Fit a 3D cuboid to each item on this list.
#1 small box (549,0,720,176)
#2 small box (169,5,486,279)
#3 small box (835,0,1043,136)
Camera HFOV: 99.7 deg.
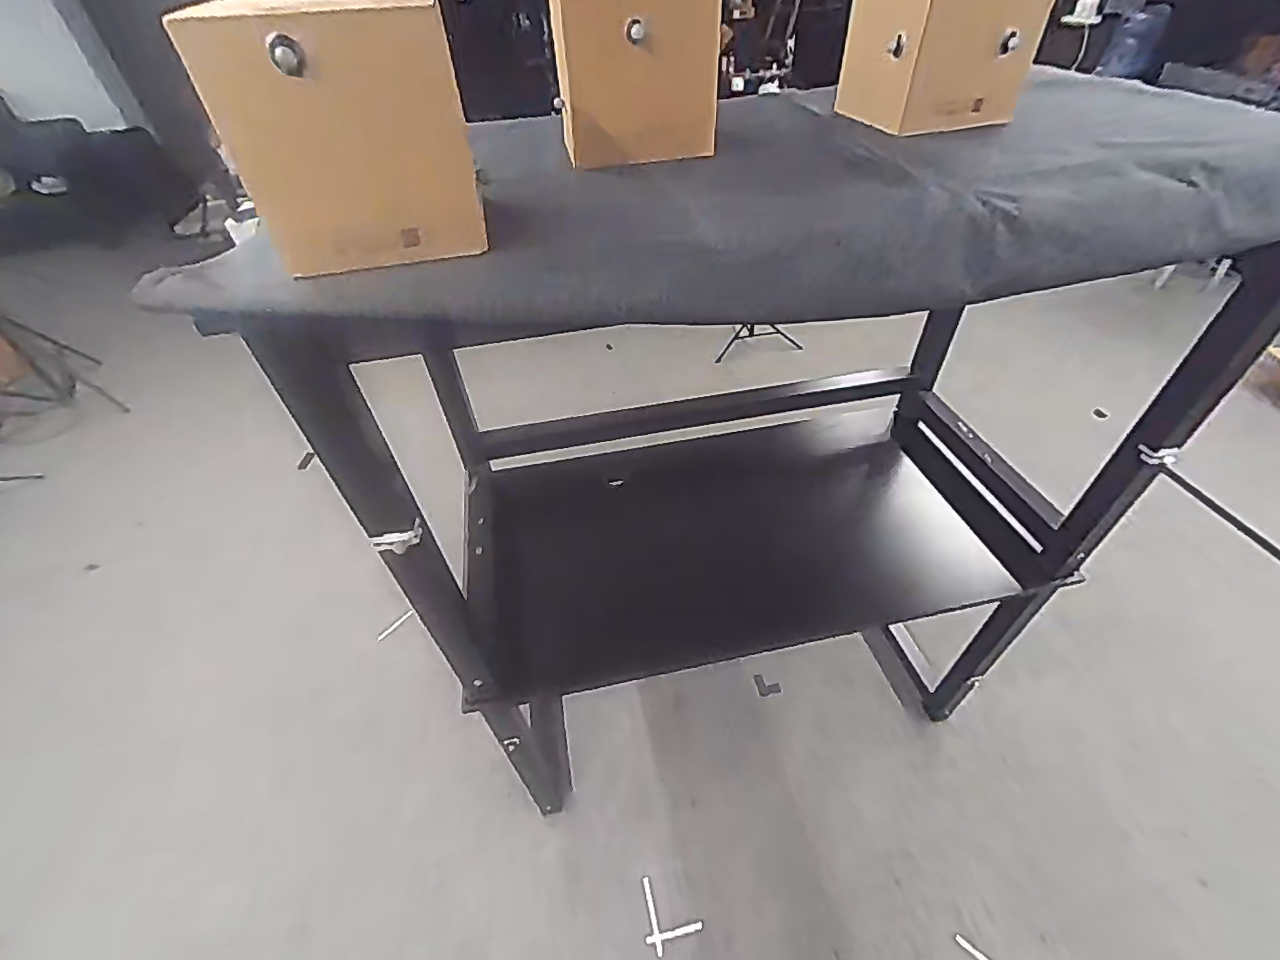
[{"bbox_3d":[-0.011,-0.495,0.665,0.179,0.176,0.168,-10,45,-5],"label":"small box"},{"bbox_3d":[-0.235,-0.292,0.465,0.168,0.176,0.179,-12,44,-9],"label":"small box"},{"bbox_3d":[0.382,-0.565,0.707,0.168,0.176,0.179,-11,45,-8],"label":"small box"}]
